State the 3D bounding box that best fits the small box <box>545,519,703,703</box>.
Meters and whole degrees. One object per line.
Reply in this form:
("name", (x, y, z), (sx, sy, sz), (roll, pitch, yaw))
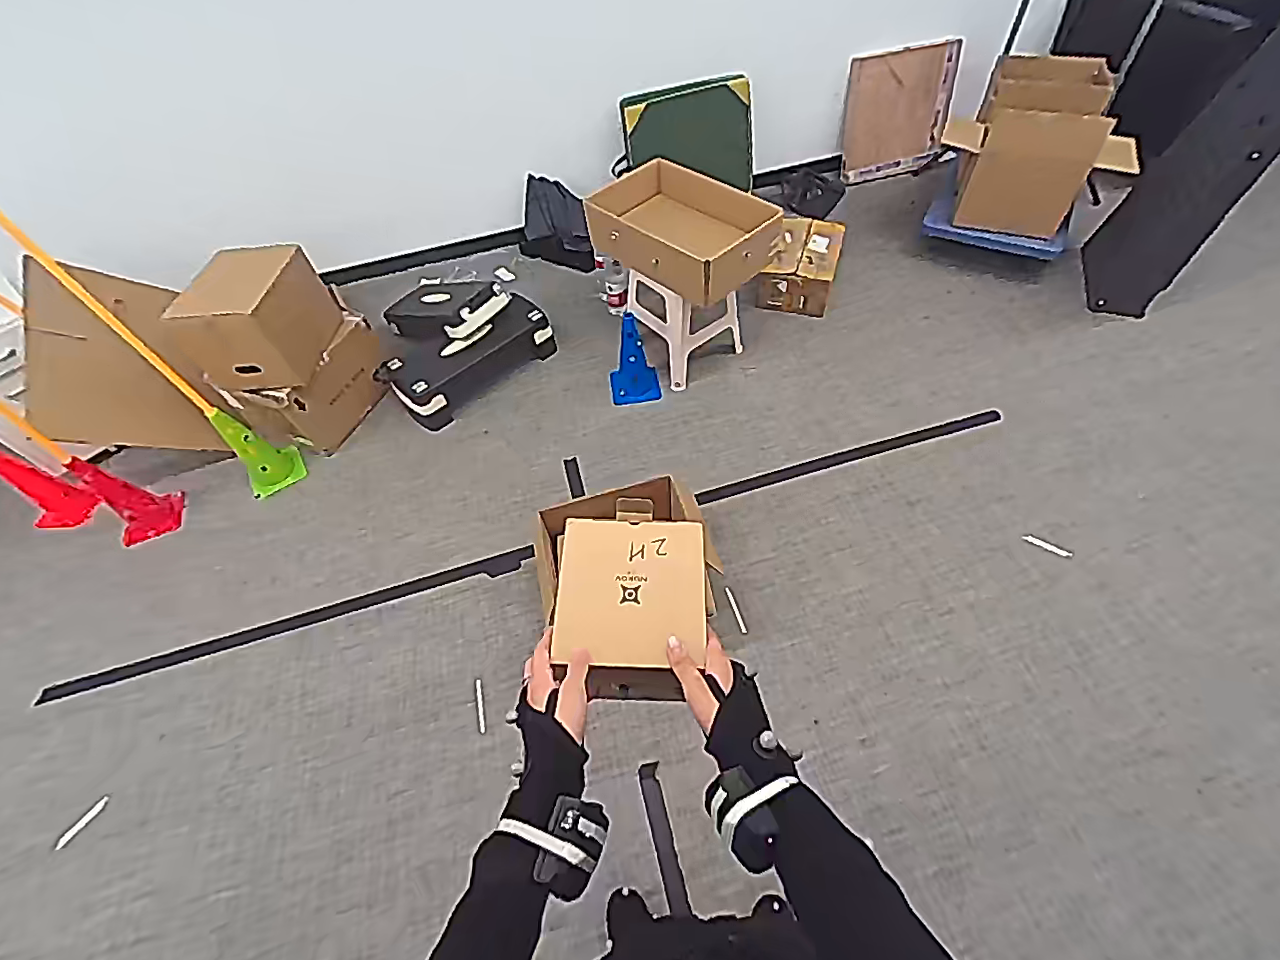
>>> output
("small box", (-0.012, 0.165, 0.660), (0.168, 0.176, 0.179), (2, 57, 1))
